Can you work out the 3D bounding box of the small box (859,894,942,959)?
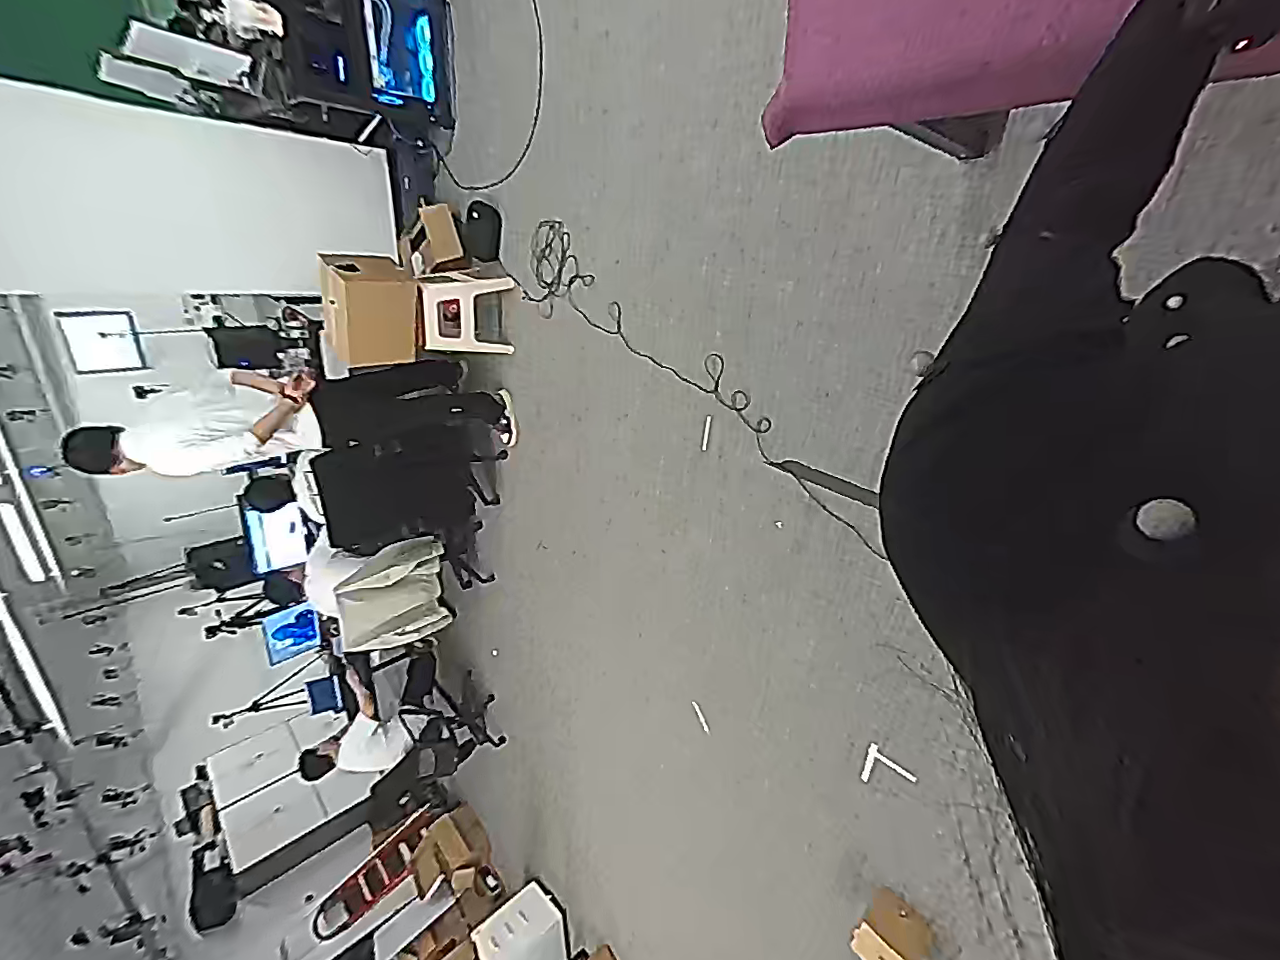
[{"bbox_3d":[0.890,1.569,1.847,0.179,0.176,0.168,31,125,39],"label":"small box"}]
